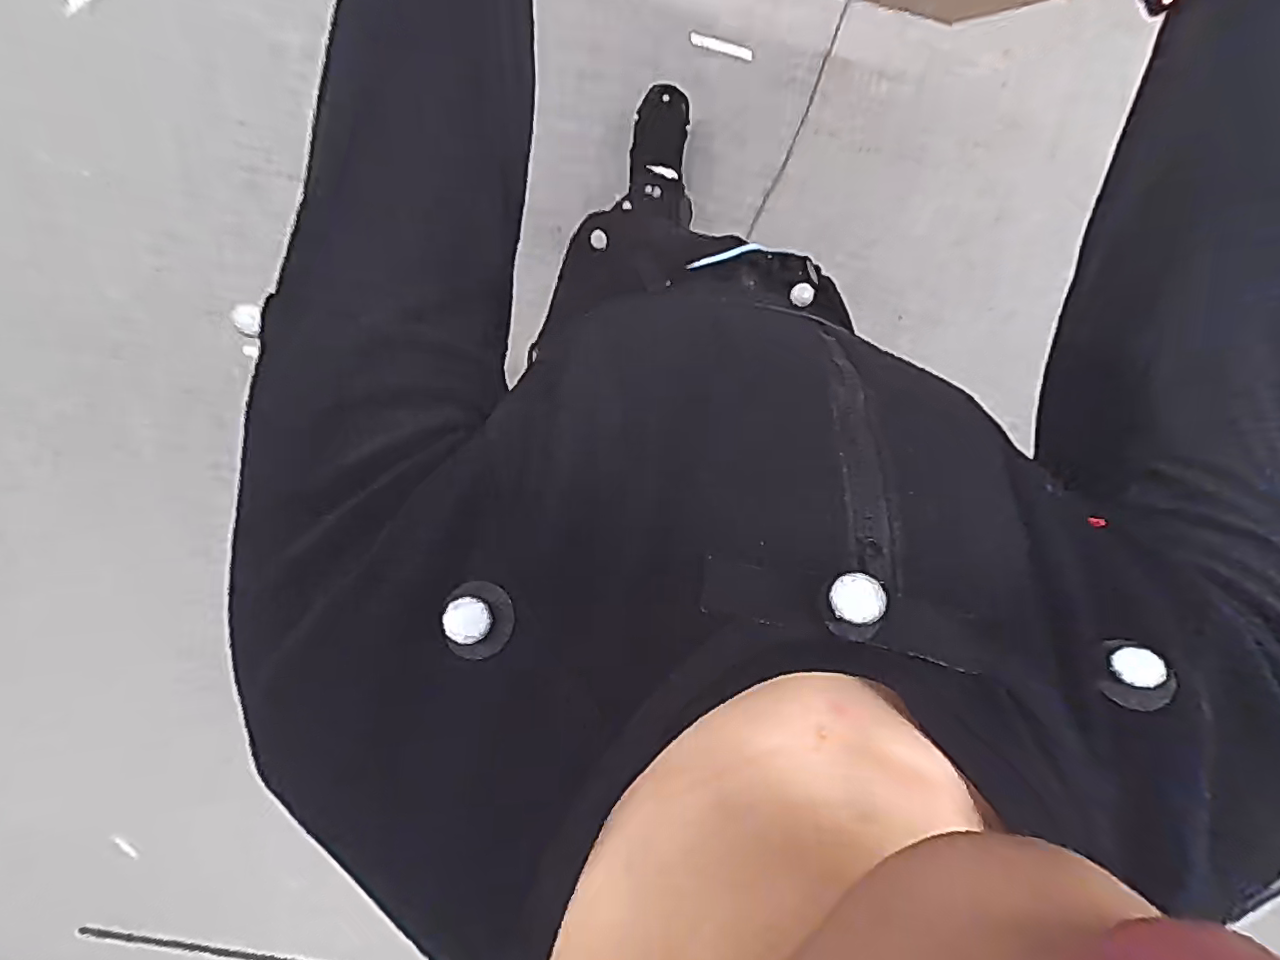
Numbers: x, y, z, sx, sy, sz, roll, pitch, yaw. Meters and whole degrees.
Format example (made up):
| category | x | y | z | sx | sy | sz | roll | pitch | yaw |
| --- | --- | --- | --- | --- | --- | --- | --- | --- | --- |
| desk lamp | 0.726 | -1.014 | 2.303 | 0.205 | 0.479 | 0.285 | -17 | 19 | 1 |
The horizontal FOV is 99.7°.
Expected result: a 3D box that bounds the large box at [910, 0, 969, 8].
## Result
| category | x | y | z | sx | sy | sz | roll | pitch | yaw |
| --- | --- | --- | --- | --- | --- | --- | --- | --- | --- |
| large box | 0.168 | -0.584 | 0.373 | 0.408 | 0.320 | 0.320 | 12 | 124 | -3 |
